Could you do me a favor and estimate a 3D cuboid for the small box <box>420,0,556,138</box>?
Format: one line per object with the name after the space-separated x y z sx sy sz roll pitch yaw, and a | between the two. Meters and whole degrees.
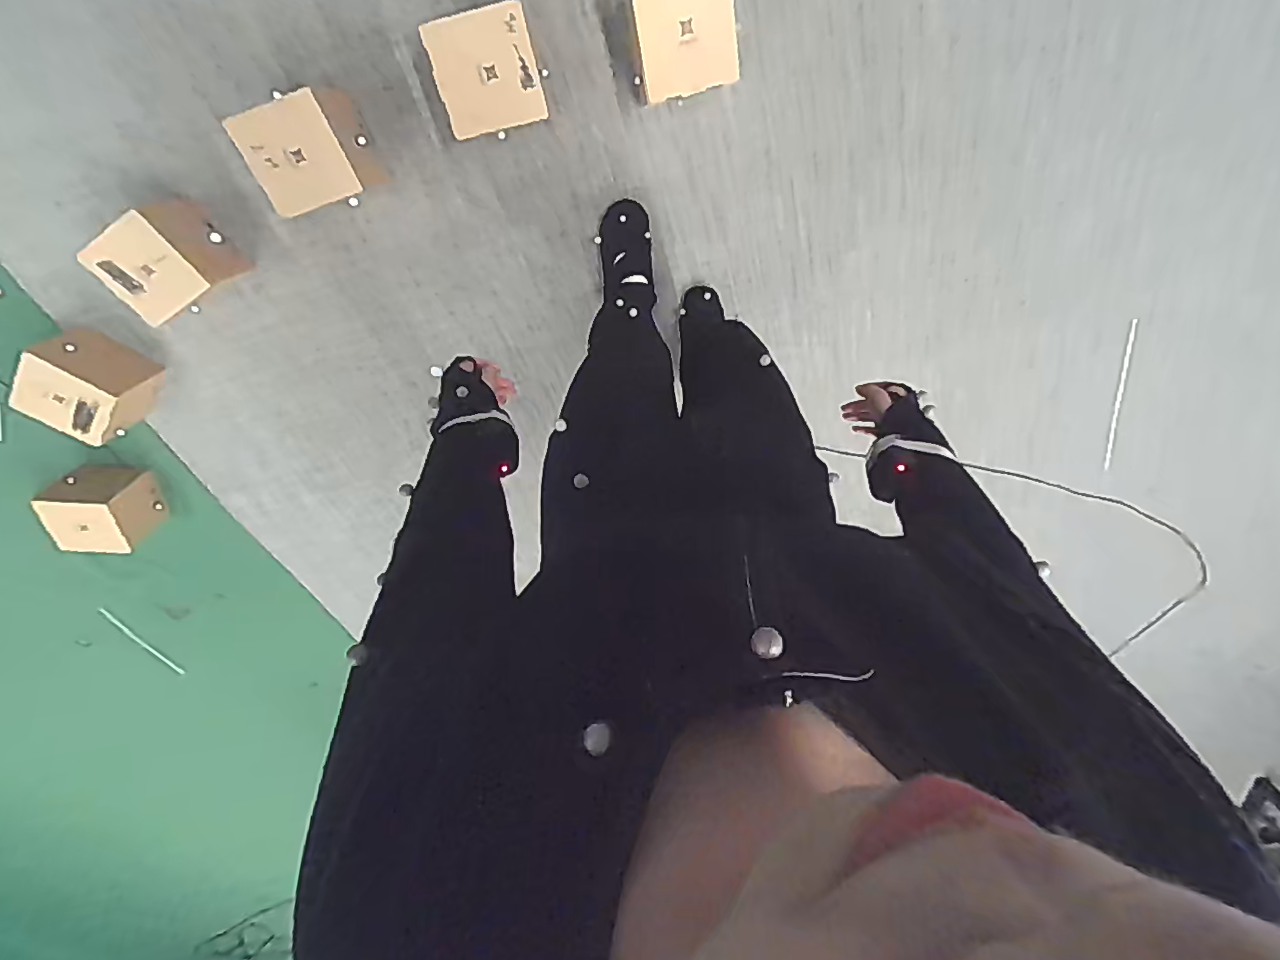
-0.264 -0.735 0.985 0.179 0.176 0.168 -11 124 4 | small box

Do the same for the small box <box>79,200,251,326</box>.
-0.967 -0.454 1.122 0.179 0.176 0.168 -27 121 13 | small box

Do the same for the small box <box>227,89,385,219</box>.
-0.618 -0.623 1.034 0.179 0.176 0.168 -16 122 6 | small box

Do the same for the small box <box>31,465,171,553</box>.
-1.423 0.074 1.442 0.179 0.176 0.168 4 123 -6 | small box

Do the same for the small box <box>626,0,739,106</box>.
0.073 -0.795 0.972 0.168 0.176 0.179 -12 124 4 | small box
